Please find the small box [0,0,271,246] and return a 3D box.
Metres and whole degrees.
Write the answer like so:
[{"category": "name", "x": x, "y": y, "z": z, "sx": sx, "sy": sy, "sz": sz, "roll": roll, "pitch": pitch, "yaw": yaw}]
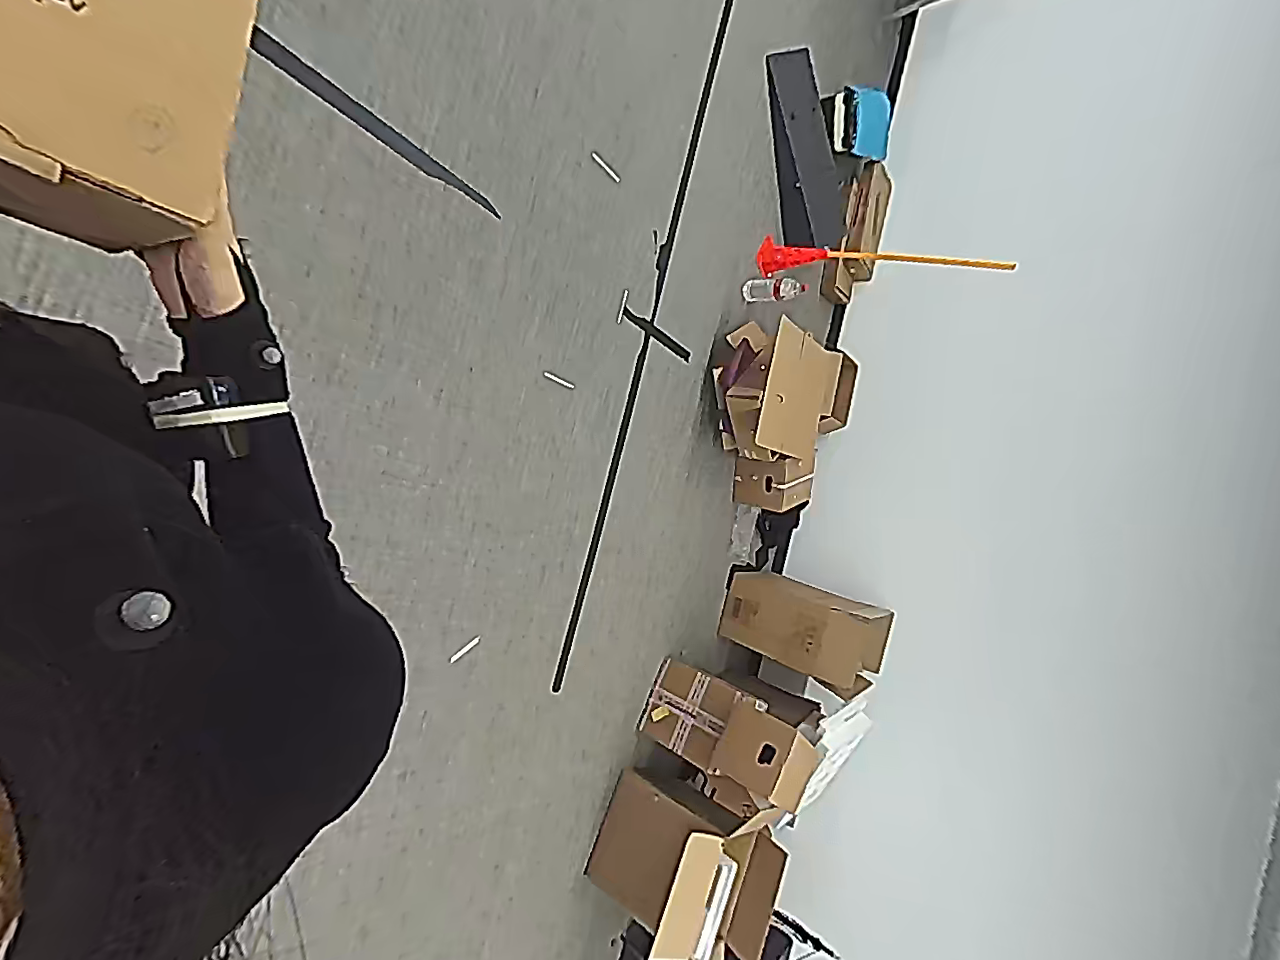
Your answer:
[{"category": "small box", "x": -0.339, "y": -0.246, "z": 0.291, "sx": 0.168, "sy": 0.176, "sz": 0.179, "roll": 12, "pitch": 89, "yaw": -58}]
